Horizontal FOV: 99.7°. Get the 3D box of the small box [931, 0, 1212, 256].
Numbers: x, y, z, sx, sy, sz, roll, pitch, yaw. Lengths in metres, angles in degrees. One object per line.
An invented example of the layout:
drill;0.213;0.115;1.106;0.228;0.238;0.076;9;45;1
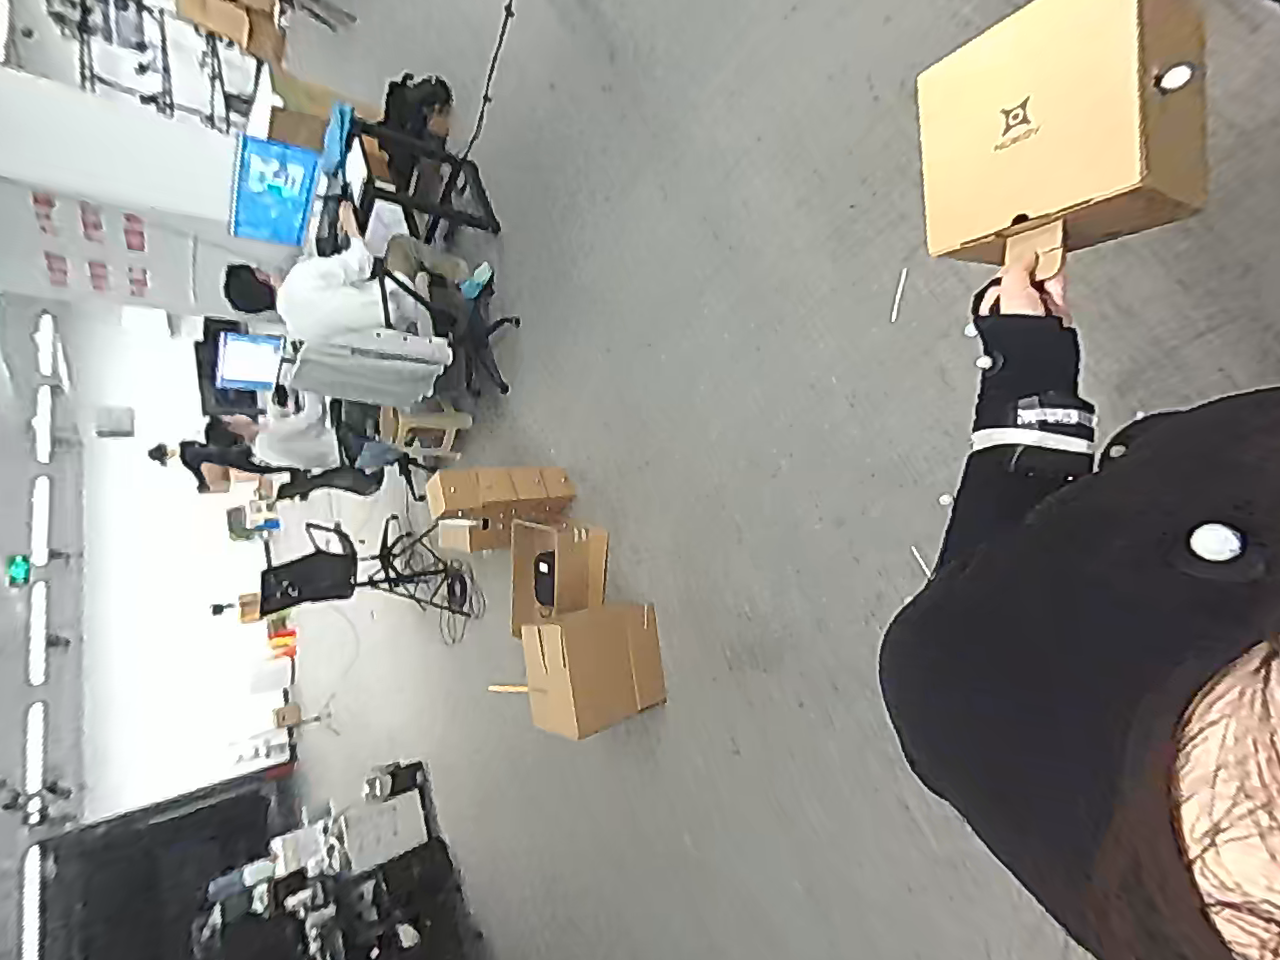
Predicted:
small box;0.404;-0.329;0.513;0.168;0.176;0.179;4;103;57
